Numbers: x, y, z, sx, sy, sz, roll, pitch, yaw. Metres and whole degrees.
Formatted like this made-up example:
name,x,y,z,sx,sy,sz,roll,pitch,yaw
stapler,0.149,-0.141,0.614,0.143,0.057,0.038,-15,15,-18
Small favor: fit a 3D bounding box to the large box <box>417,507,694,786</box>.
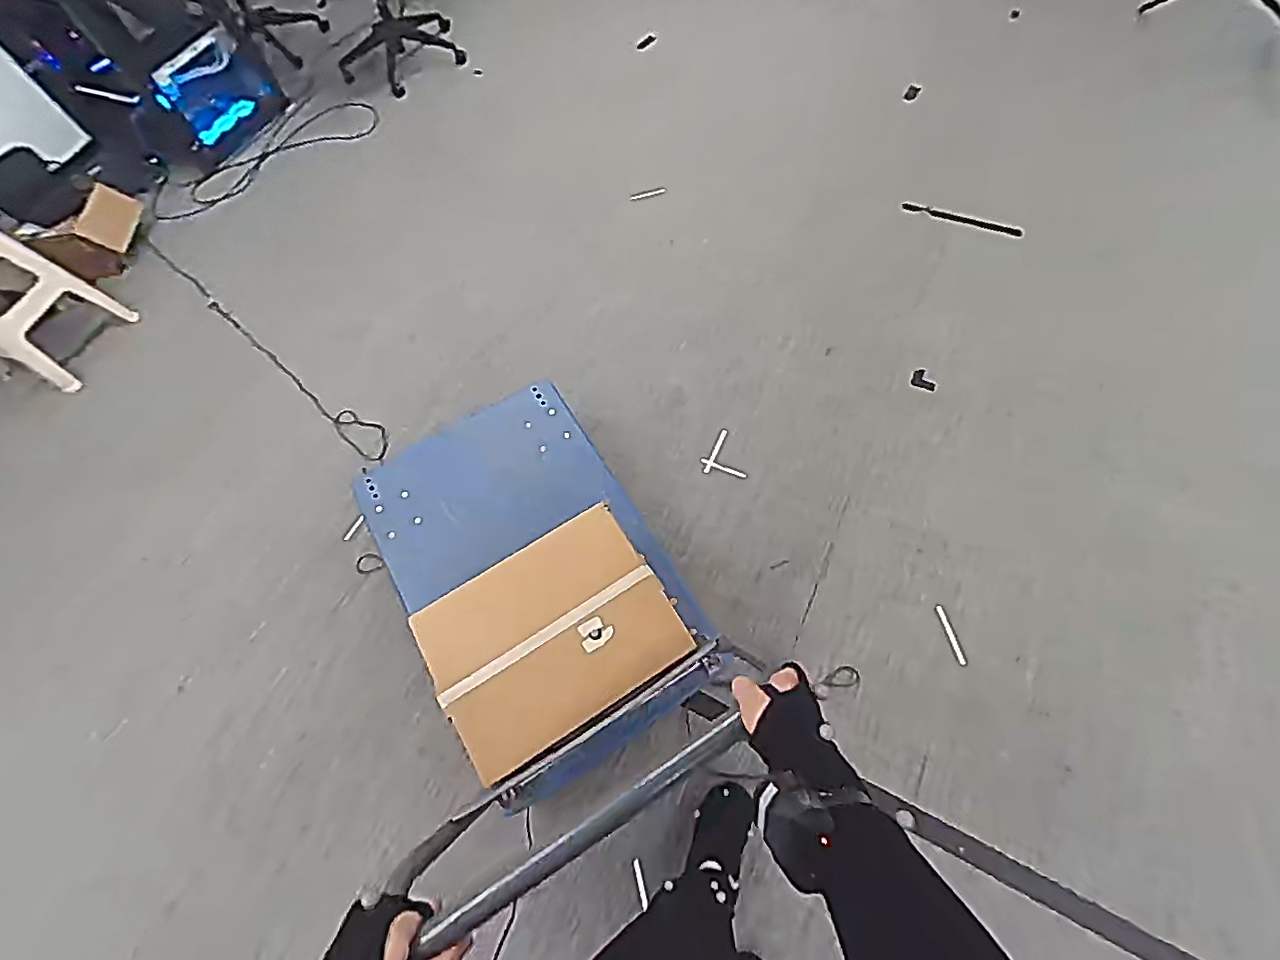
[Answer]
name,x,y,z,sx,sy,sz,roll,pitch,yaw
large box,-0.146,0.326,1.074,0.408,0.320,0.320,-31,71,-10
